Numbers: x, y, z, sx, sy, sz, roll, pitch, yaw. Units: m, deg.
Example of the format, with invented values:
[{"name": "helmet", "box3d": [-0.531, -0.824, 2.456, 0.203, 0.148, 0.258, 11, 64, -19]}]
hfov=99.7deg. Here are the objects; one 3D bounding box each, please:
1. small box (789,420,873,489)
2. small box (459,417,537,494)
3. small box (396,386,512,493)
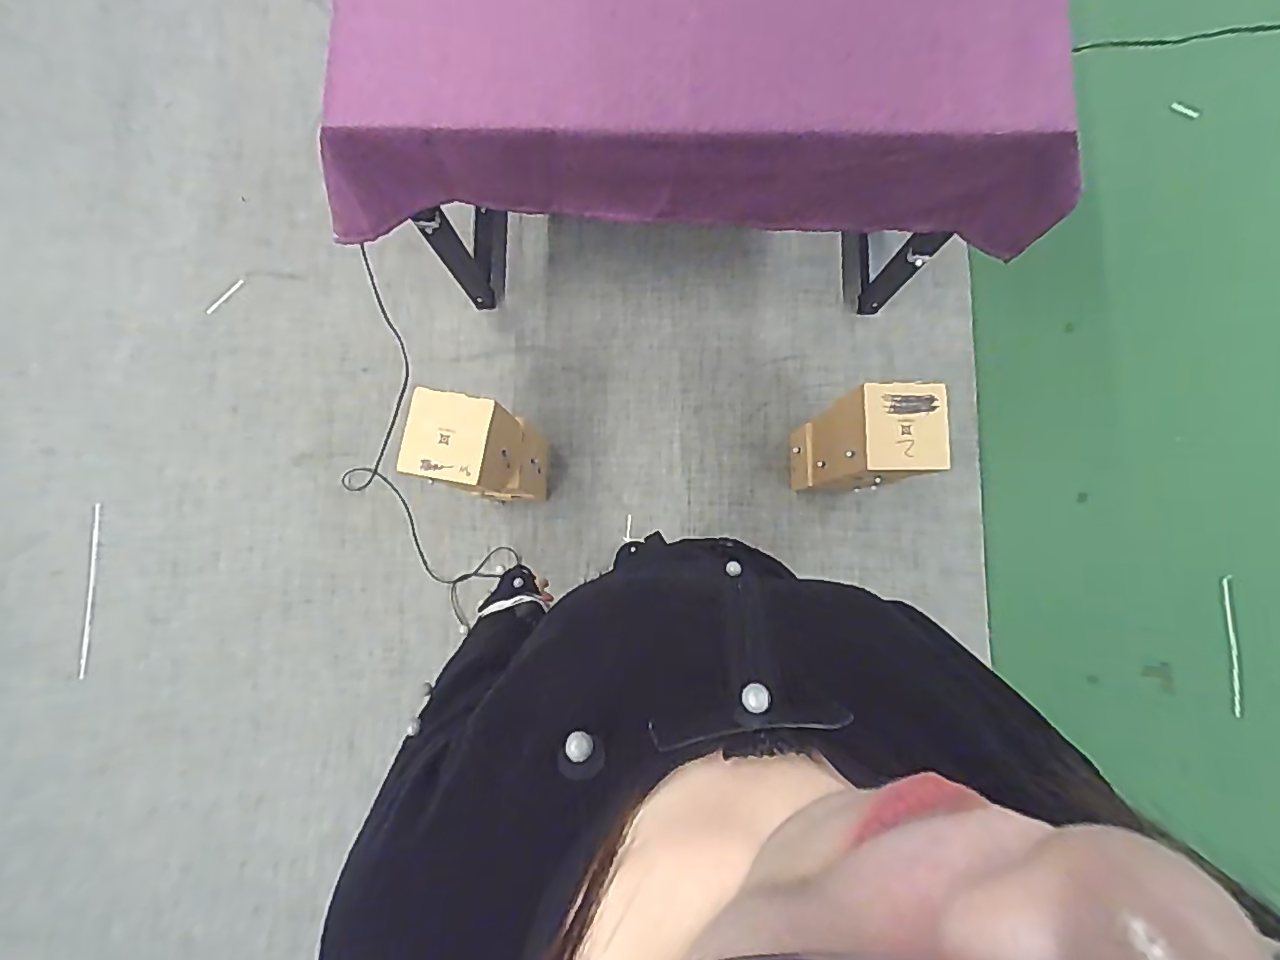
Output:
[{"name": "small box", "box3d": [0.507, -0.065, 1.464, 0.179, 0.176, 0.168, -1, 84, 0]}, {"name": "small box", "box3d": [-0.356, -0.057, 1.302, 0.179, 0.176, 0.168, 3, 84, 0]}, {"name": "small box", "box3d": [-0.380, -0.078, 1.139, 0.168, 0.176, 0.179, 10, 83, 2]}]
